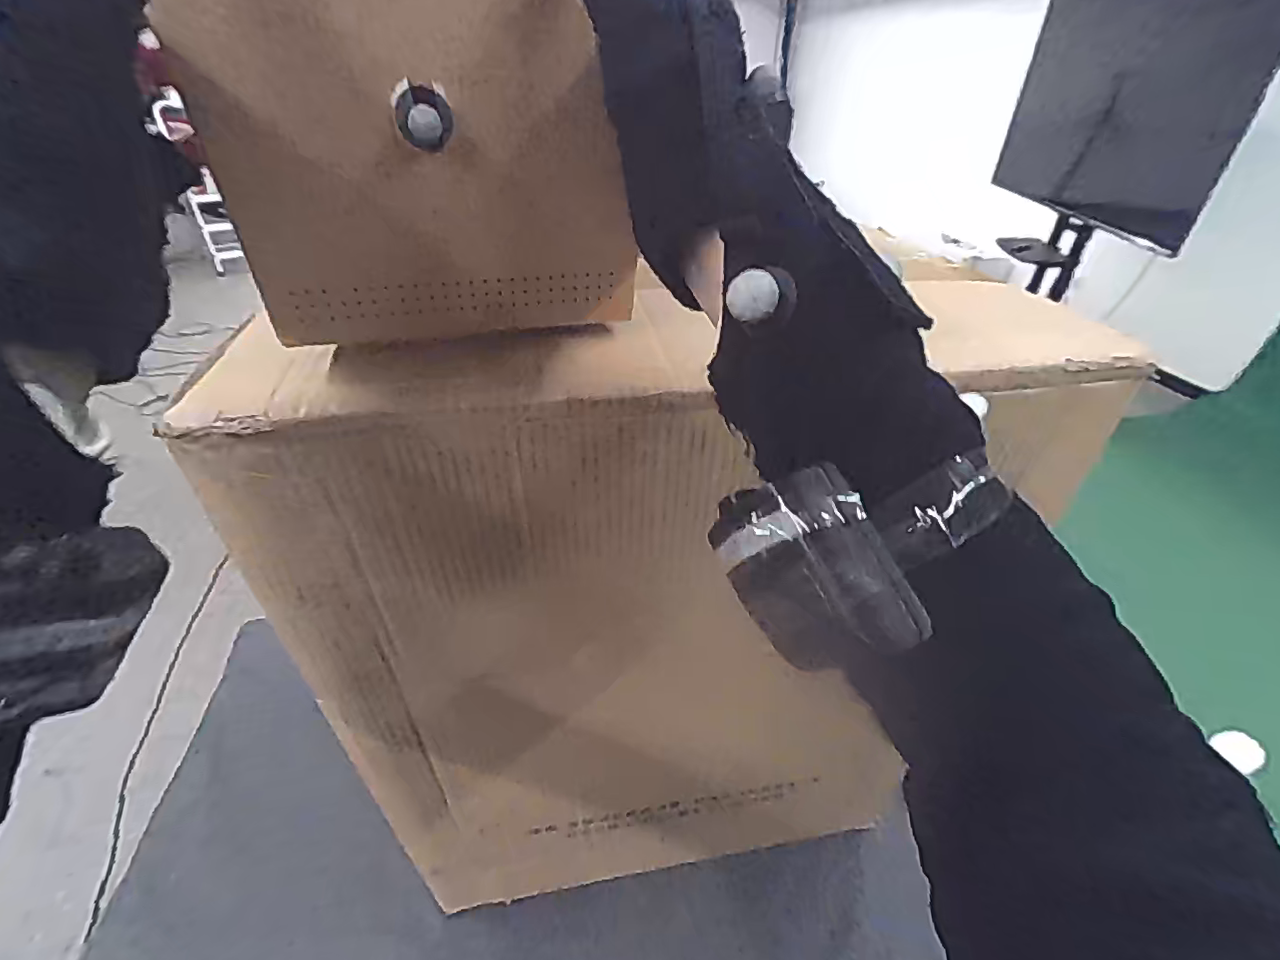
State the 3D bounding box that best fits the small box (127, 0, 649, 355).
[{"bbox_3d":[-0.108,-0.184,0.278,0.179,0.176,0.168,-11,47,-16],"label":"small box"}]
